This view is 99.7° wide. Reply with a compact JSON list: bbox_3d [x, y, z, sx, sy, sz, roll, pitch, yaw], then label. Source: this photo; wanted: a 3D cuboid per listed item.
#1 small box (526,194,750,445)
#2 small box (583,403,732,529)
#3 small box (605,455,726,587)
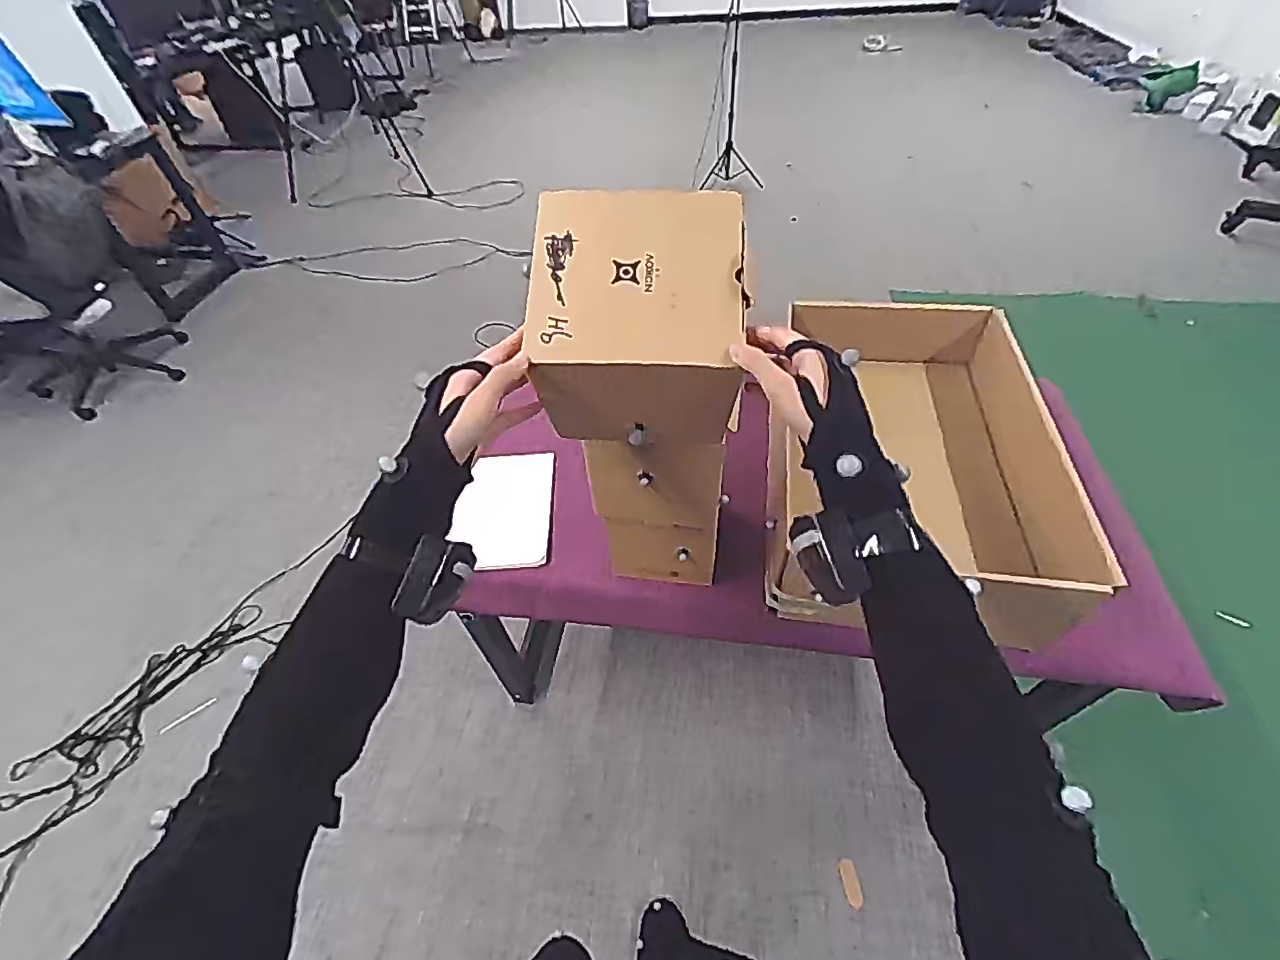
[{"bbox_3d":[0.003,-0.140,0.519,0.179,0.176,0.168,3,71,2],"label":"small box"},{"bbox_3d":[0.032,-0.049,0.755,0.179,0.176,0.168,6,48,9],"label":"small box"},{"bbox_3d":[0.048,0.054,0.882,0.168,0.176,0.179,6,48,9],"label":"small box"}]
